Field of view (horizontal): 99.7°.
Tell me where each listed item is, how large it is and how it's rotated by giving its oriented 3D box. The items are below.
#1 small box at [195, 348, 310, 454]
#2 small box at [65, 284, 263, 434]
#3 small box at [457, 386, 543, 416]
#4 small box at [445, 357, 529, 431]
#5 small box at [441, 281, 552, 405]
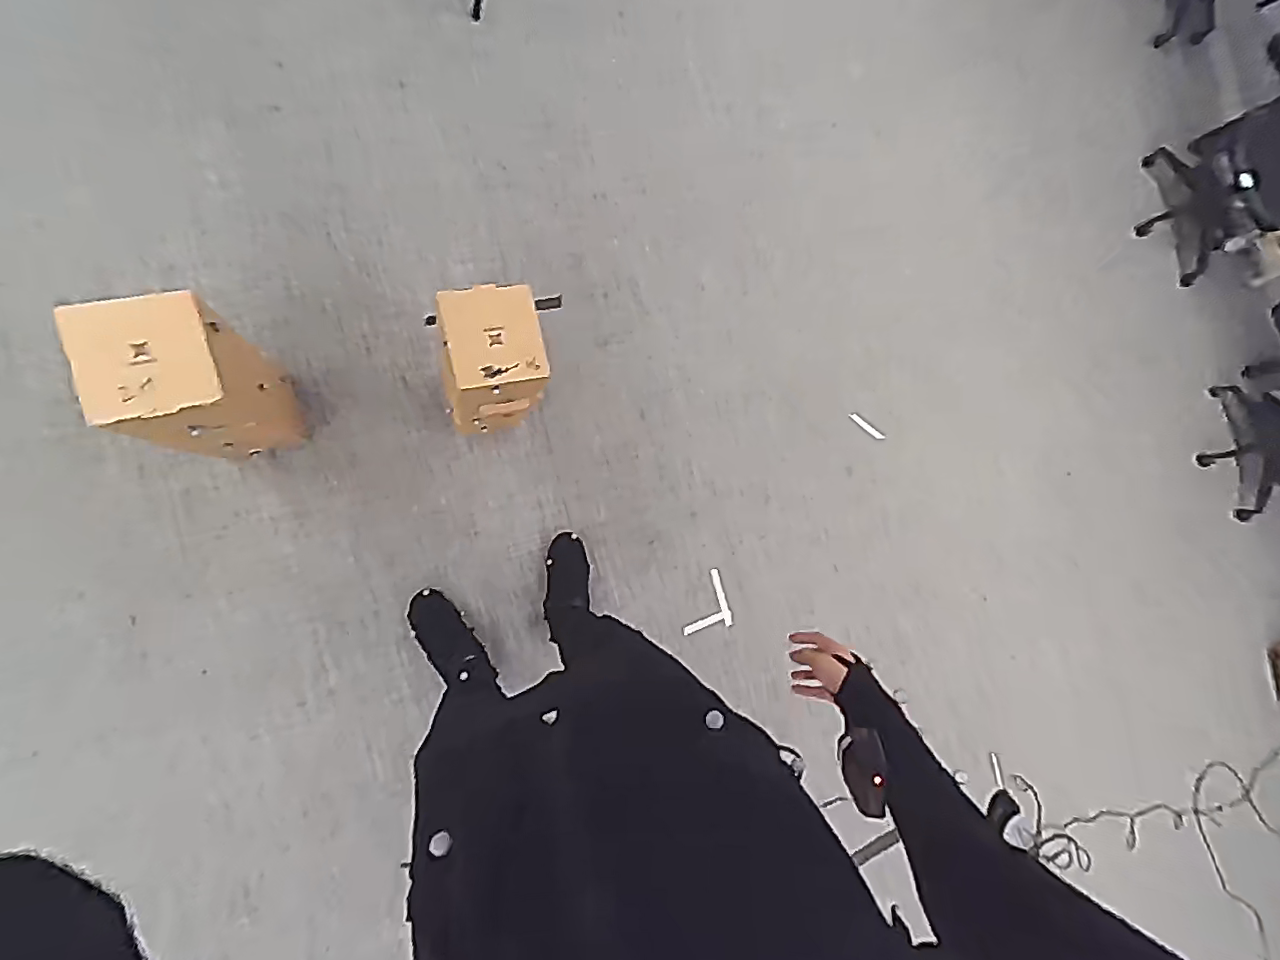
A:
[{"bbox_3d":[-0.843,-0.165,1.168,0.168,0.176,0.179,-16,91,-18],"label":"small box"},{"bbox_3d":[-0.737,-0.185,0.860,0.168,0.176,0.179,-16,92,-19],"label":"small box"},{"bbox_3d":[-0.322,-0.244,1.190,0.168,0.176,0.179,-12,90,-21],"label":"small box"},{"bbox_3d":[-0.385,-0.229,1.341,0.168,0.176,0.179,-12,90,-21],"label":"small box"},{"bbox_3d":[-0.279,-0.256,1.031,0.168,0.176,0.179,-12,89,-21],"label":"small box"}]
